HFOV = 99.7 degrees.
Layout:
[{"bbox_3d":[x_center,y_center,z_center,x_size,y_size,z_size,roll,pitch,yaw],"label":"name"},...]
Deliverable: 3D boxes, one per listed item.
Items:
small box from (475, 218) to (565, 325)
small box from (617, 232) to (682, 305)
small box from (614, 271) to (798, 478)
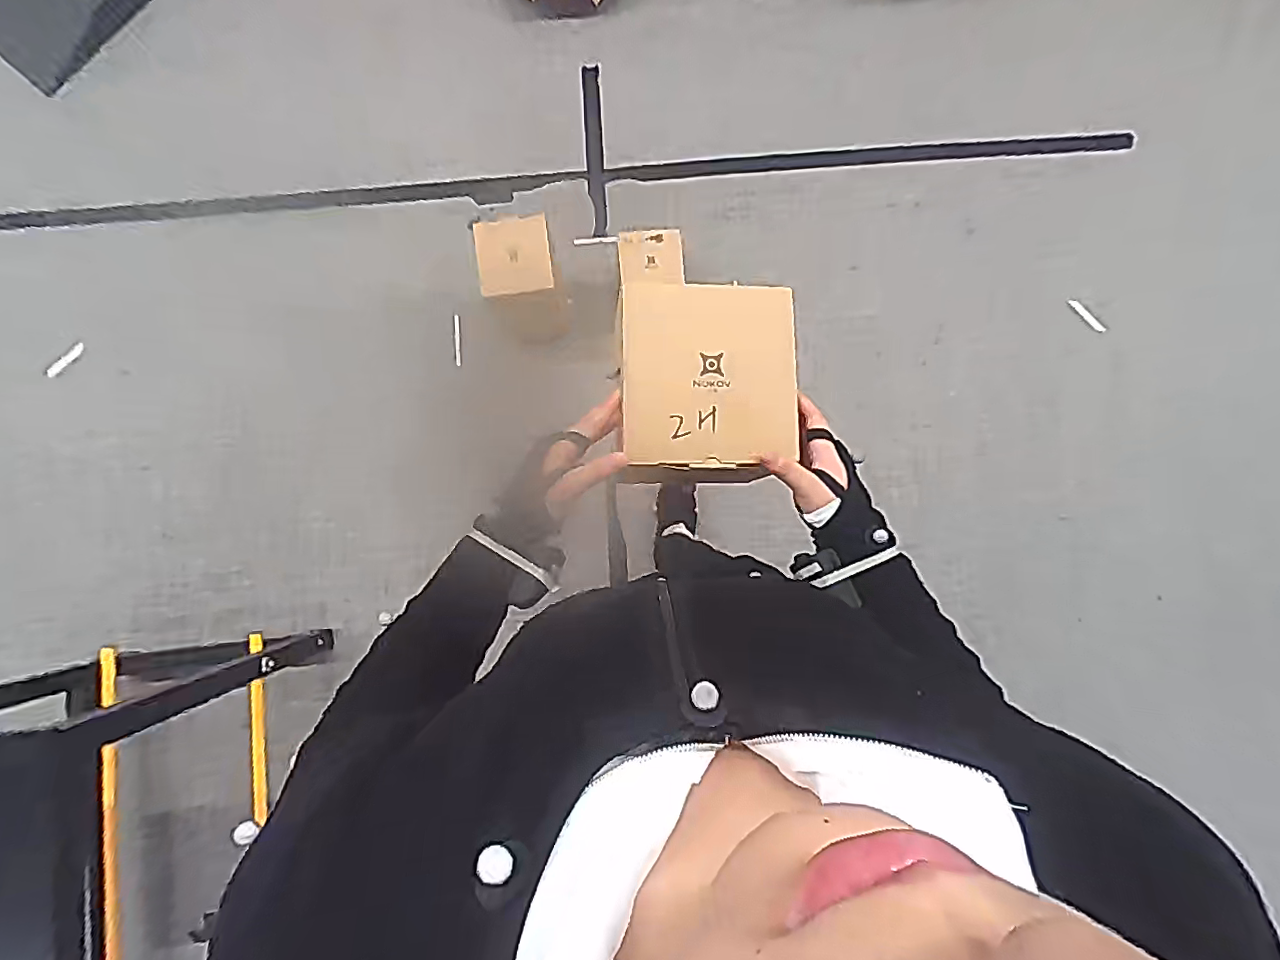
[{"bbox_3d":[-0.281,-0.492,1.296,0.168,0.176,0.179,-9,87,0],"label":"small box"},{"bbox_3d":[0.027,-0.544,1.469,0.168,0.176,0.179,-5,87,-1],"label":"small box"},{"bbox_3d":[0.057,-0.100,0.582,0.168,0.176,0.179,0,84,-5],"label":"small box"}]
